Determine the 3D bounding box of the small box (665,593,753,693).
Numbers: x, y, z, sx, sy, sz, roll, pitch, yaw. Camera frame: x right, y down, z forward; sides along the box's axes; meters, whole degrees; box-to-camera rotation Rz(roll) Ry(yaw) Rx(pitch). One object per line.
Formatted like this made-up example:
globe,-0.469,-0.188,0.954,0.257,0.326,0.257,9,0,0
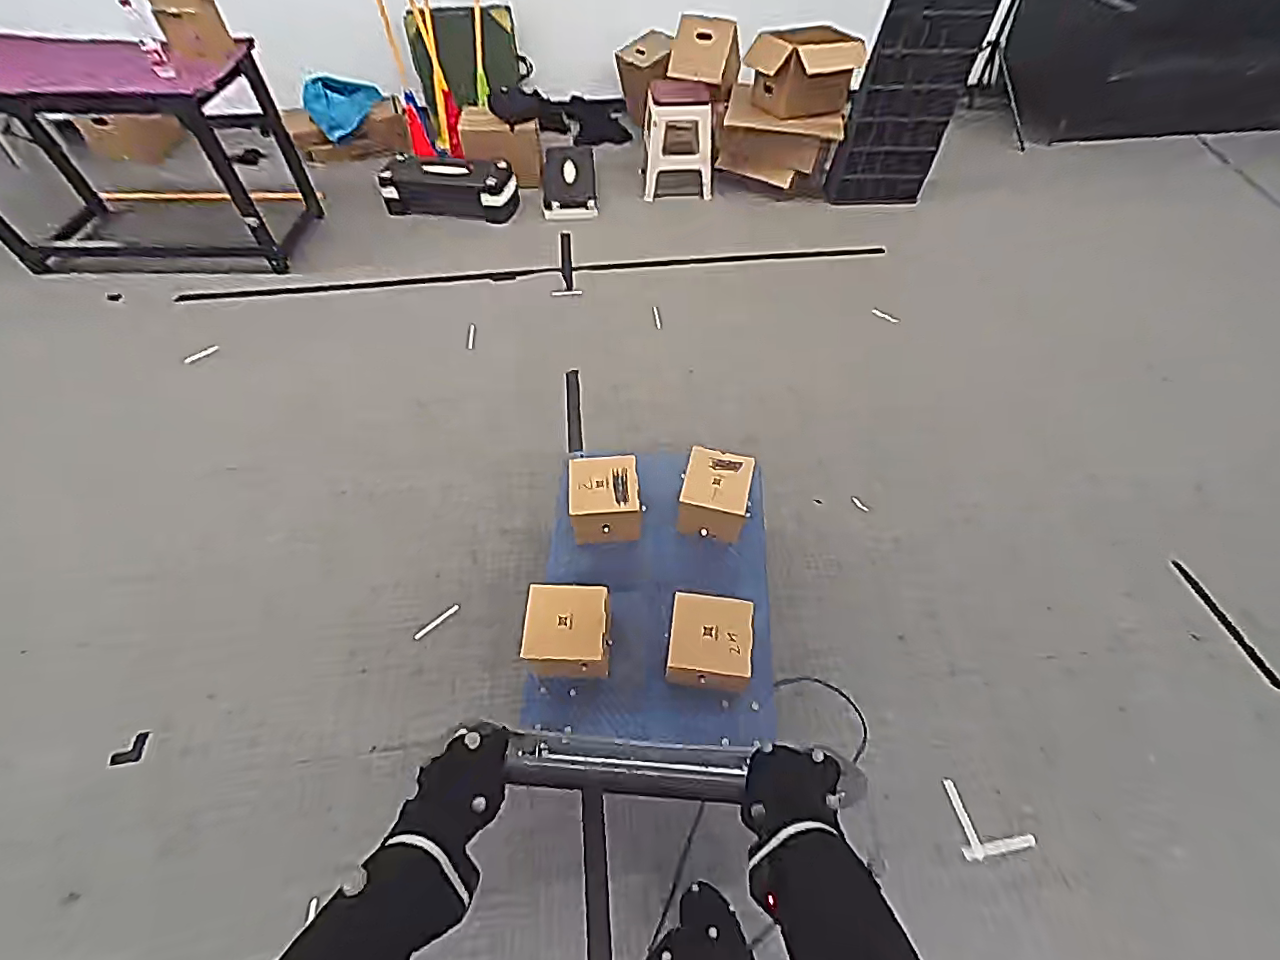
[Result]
small box,0.152,0.372,1.220,0.179,0.176,0.168,7,58,5

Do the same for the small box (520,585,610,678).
small box,-0.164,0.350,1.237,0.179,0.176,0.168,2,57,0

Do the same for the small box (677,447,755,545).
small box,0.197,0.045,1.430,0.168,0.176,0.179,13,59,8
